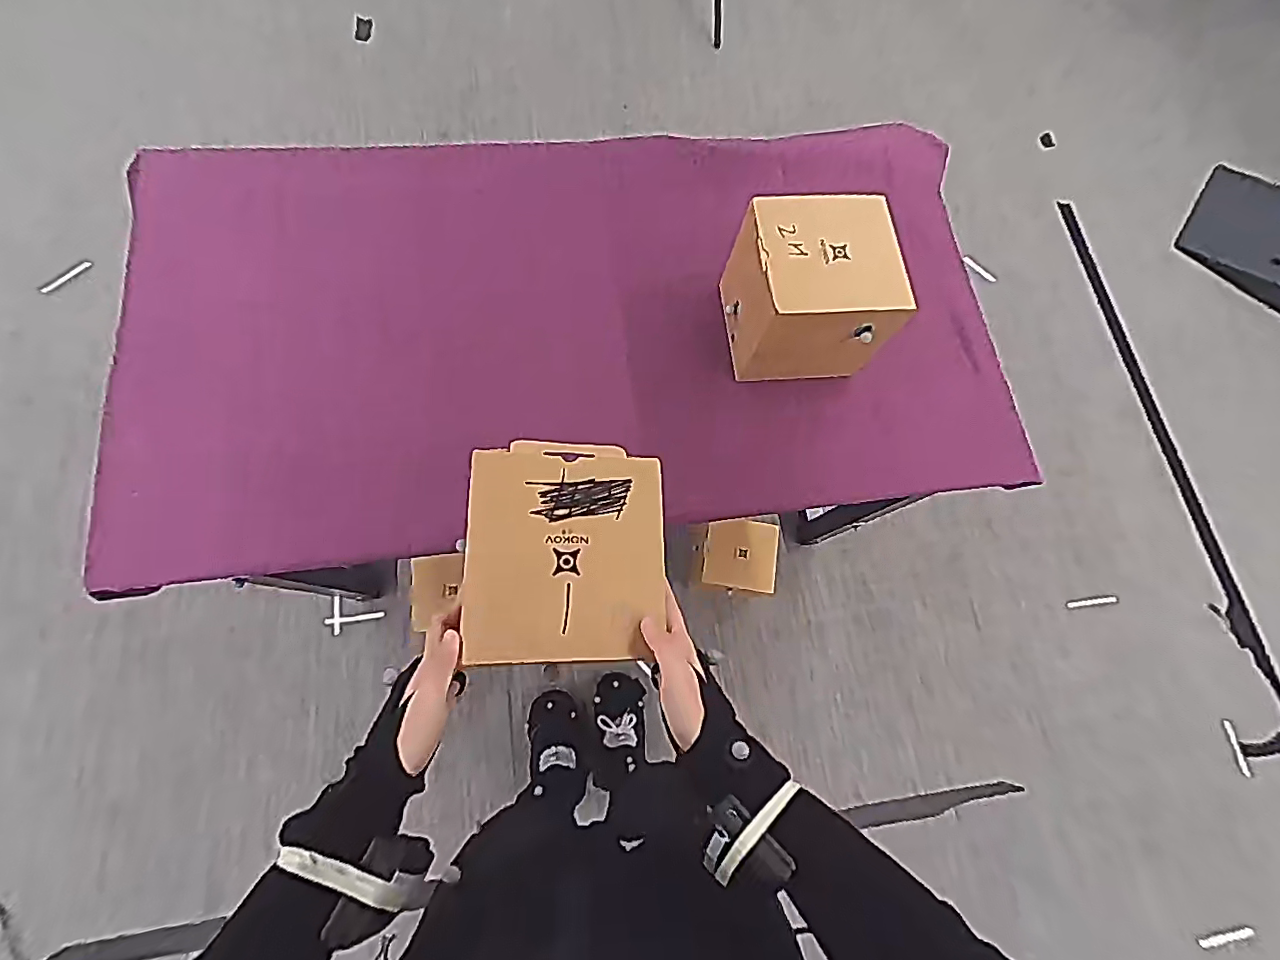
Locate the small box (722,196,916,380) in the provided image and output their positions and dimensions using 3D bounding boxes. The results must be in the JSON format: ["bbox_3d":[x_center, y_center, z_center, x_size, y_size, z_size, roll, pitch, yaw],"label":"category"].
[{"bbox_3d":[0.221,-0.244,0.714,0.179,0.176,0.168,-5,74,-6],"label":"small box"}]

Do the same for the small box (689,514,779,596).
[{"bbox_3d":[0.231,0.193,1.352,0.179,0.176,0.168,10,74,-2],"label":"small box"}]

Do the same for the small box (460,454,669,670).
[{"bbox_3d":[-0.074,0.088,0.520,0.168,0.176,0.179,2,72,-11],"label":"small box"}]
